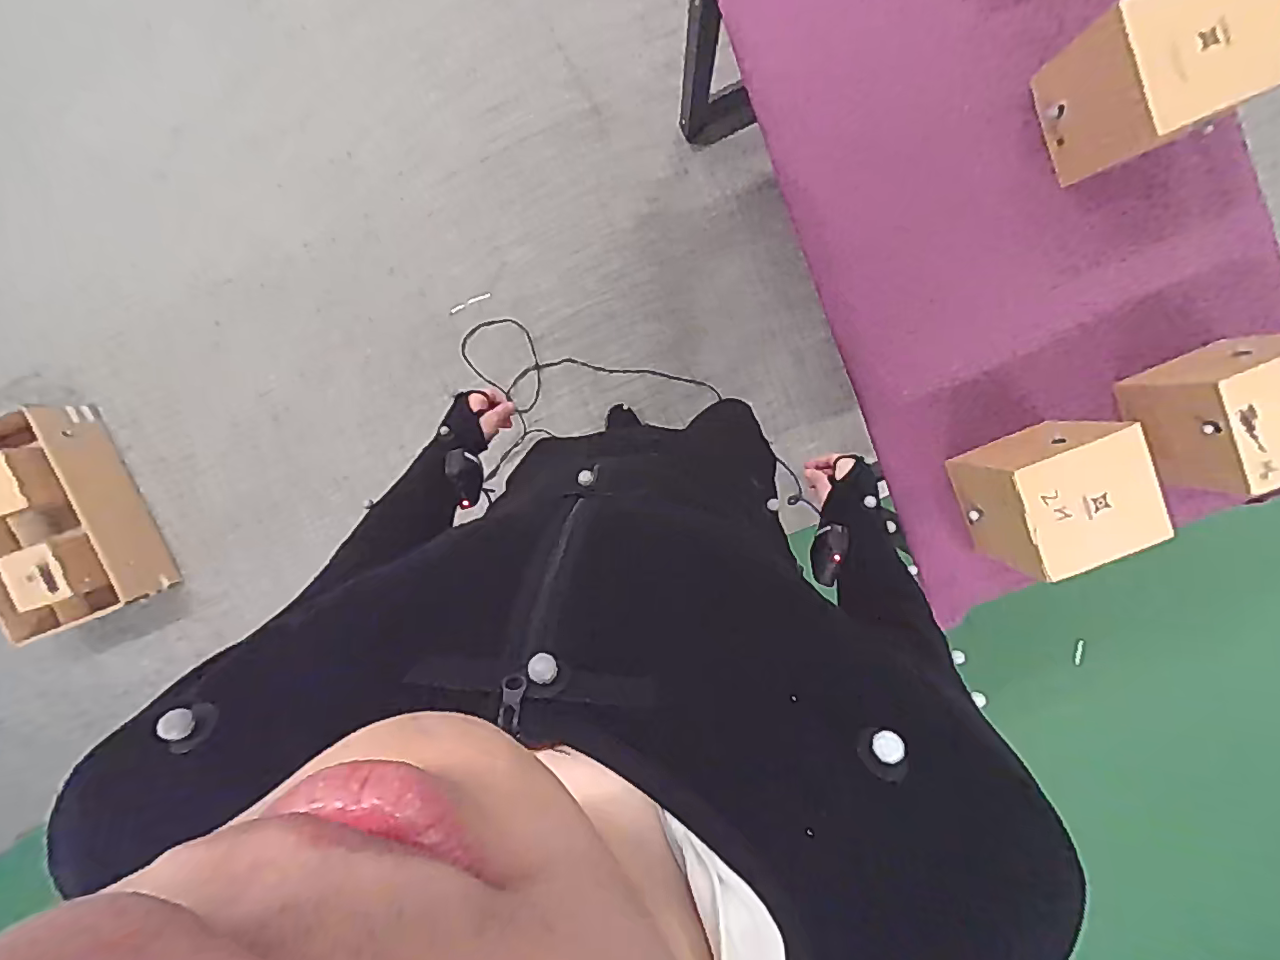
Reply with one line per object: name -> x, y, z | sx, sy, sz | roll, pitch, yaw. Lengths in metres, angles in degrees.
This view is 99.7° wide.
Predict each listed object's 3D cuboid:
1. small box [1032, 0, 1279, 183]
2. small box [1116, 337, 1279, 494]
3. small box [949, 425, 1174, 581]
small box -> 0.677, -0.534, 0.715 | 0.179, 0.176, 0.168 | -22, 96, 6
small box -> 0.851, -0.098, 0.771 | 0.179, 0.176, 0.168 | -24, 96, 5
small box -> 0.601, 0.022, 0.793 | 0.179, 0.176, 0.168 | -22, 95, 4
